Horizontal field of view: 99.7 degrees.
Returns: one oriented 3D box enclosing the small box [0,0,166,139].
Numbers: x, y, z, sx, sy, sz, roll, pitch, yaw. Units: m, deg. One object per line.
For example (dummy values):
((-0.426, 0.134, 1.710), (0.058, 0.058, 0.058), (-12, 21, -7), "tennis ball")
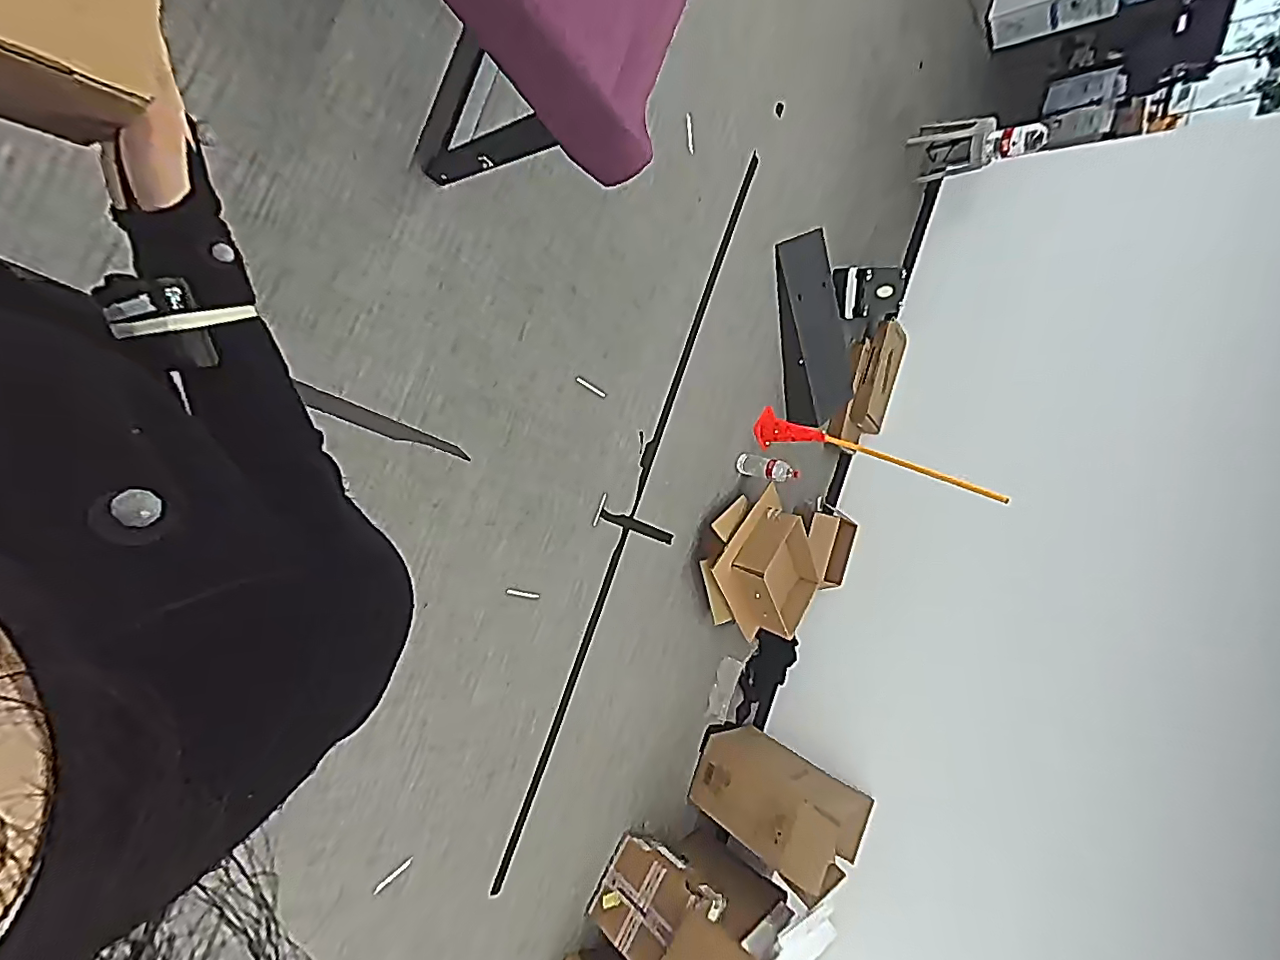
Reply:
((-0.353, -0.295, 0.260), (0.168, 0.176, 0.179), (-3, 106, -54), "small box")
